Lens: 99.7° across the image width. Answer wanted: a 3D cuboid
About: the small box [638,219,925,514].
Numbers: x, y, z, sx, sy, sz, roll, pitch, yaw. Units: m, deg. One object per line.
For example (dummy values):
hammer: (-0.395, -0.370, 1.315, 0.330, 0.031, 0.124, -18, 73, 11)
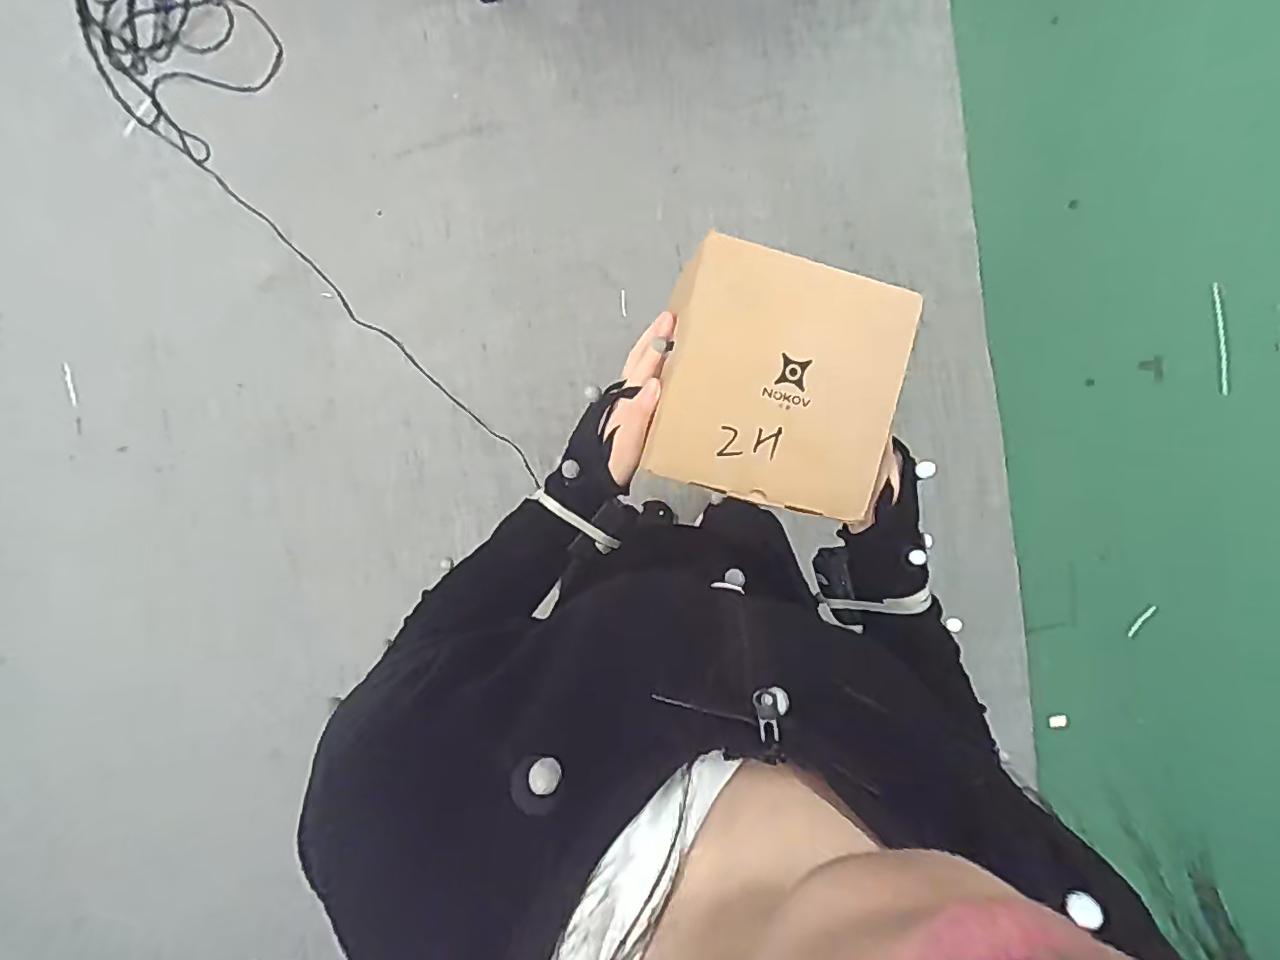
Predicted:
small box: (0.098, -0.081, 0.459, 0.168, 0.176, 0.179, 13, 92, -6)
